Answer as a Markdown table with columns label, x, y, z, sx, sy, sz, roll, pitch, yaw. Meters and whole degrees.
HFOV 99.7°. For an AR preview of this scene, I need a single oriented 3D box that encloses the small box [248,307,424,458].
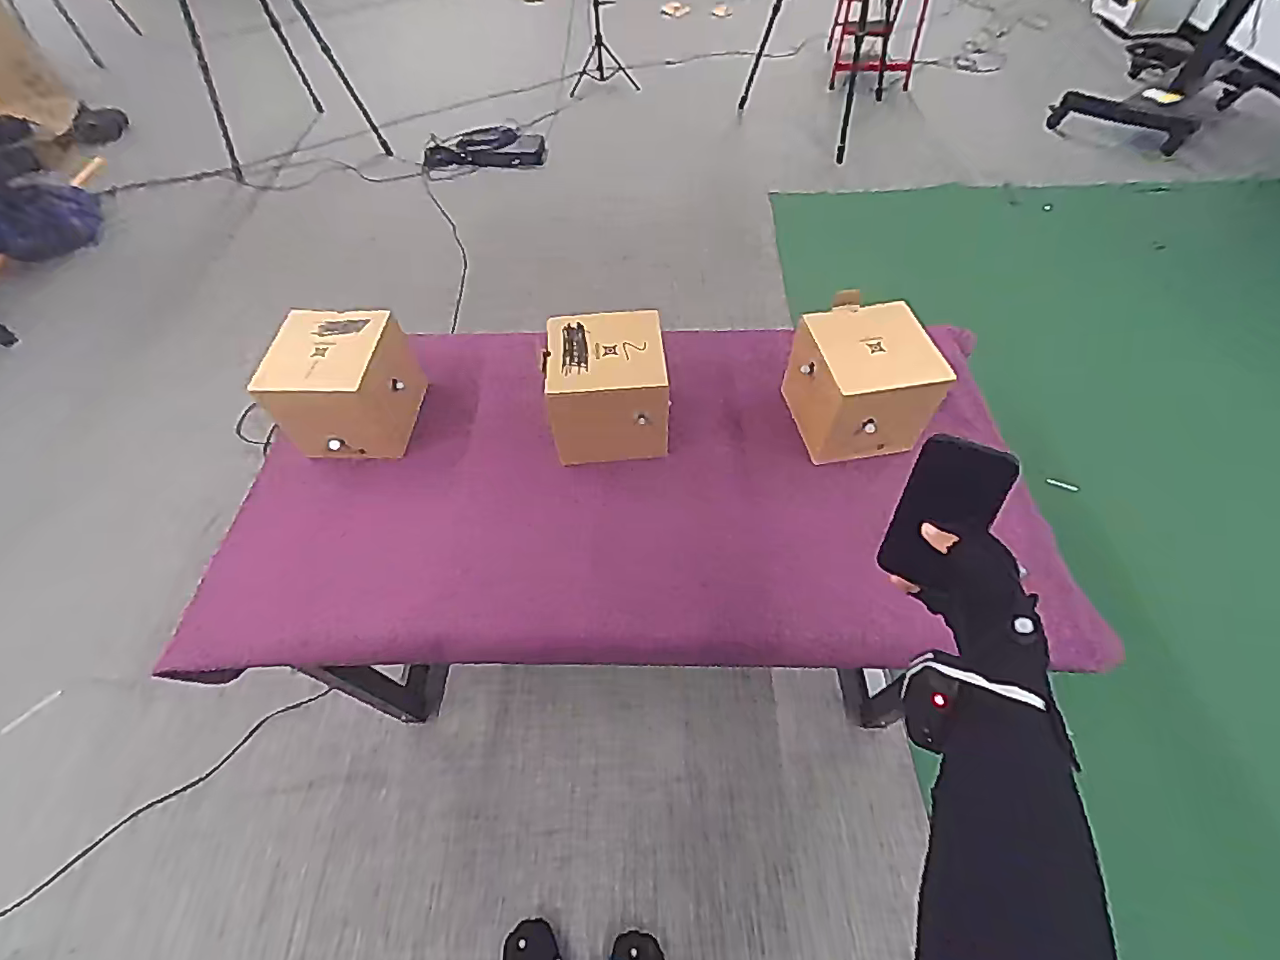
| label | x | y | z | sx | sy | sz | roll | pitch | yaw |
| --- | --- | --- | --- | --- | --- | --- | --- | --- | --- |
| small box | -0.472 | -0.156 | 0.876 | 0.168 | 0.176 | 0.179 | 1 | 57 | 2 |

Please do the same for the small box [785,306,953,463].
| label | x | y | z | sx | sy | sz | roll | pitch | yaw |
| --- | --- | --- | --- | --- | --- | --- | --- | --- | --- |
| small box | 0.342 | -0.141 | 0.847 | 0.168 | 0.176 | 0.179 | -8 | 55 | -3 |
